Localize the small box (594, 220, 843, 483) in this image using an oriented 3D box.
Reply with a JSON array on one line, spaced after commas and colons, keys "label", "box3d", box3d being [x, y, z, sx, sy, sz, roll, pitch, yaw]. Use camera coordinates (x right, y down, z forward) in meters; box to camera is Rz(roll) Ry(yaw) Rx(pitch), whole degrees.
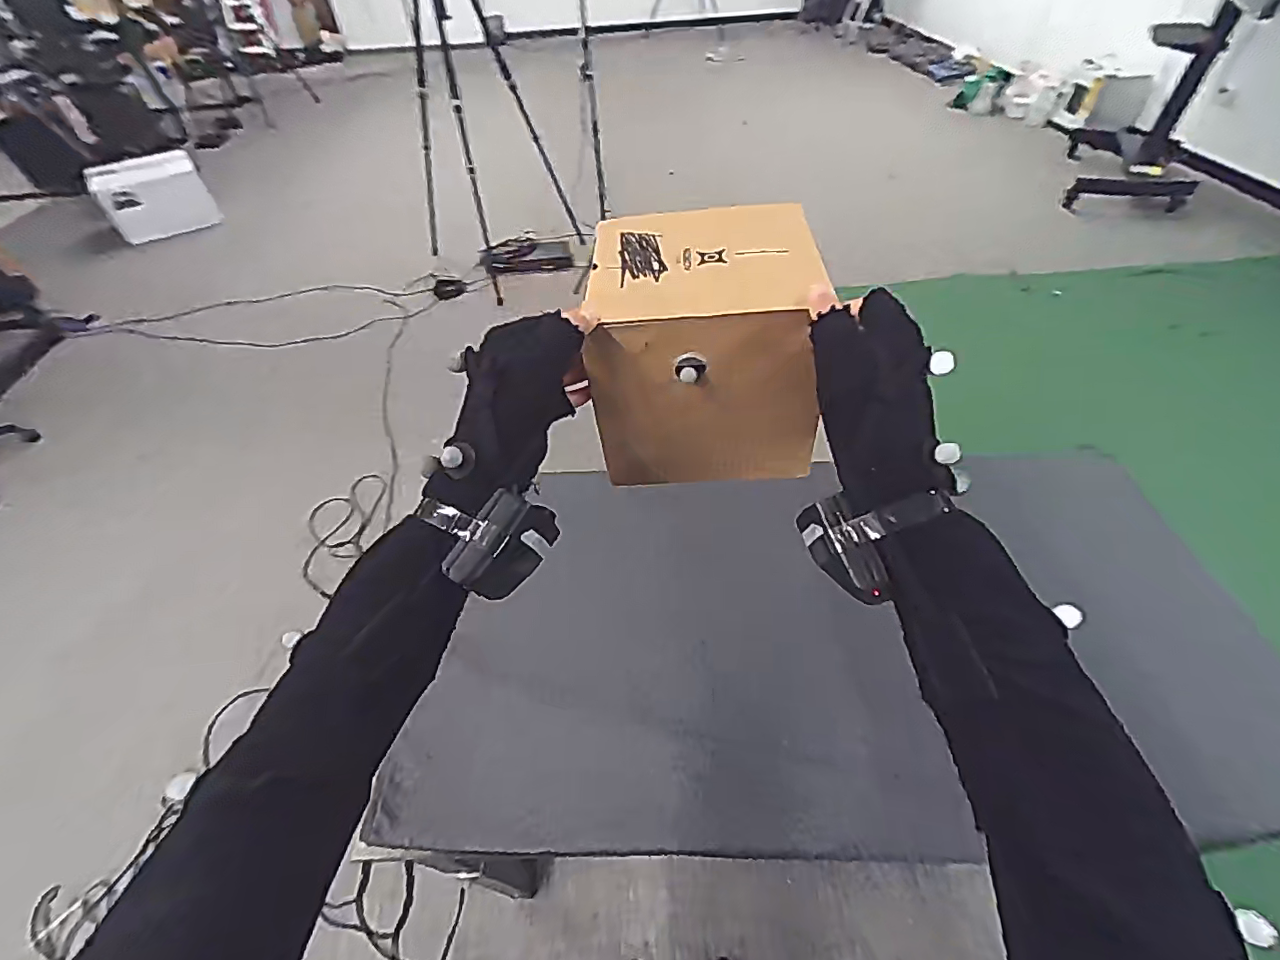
[{"label": "small box", "box3d": [0.064, -0.110, 0.484, 0.179, 0.176, 0.168, -2, 47, 5]}]
